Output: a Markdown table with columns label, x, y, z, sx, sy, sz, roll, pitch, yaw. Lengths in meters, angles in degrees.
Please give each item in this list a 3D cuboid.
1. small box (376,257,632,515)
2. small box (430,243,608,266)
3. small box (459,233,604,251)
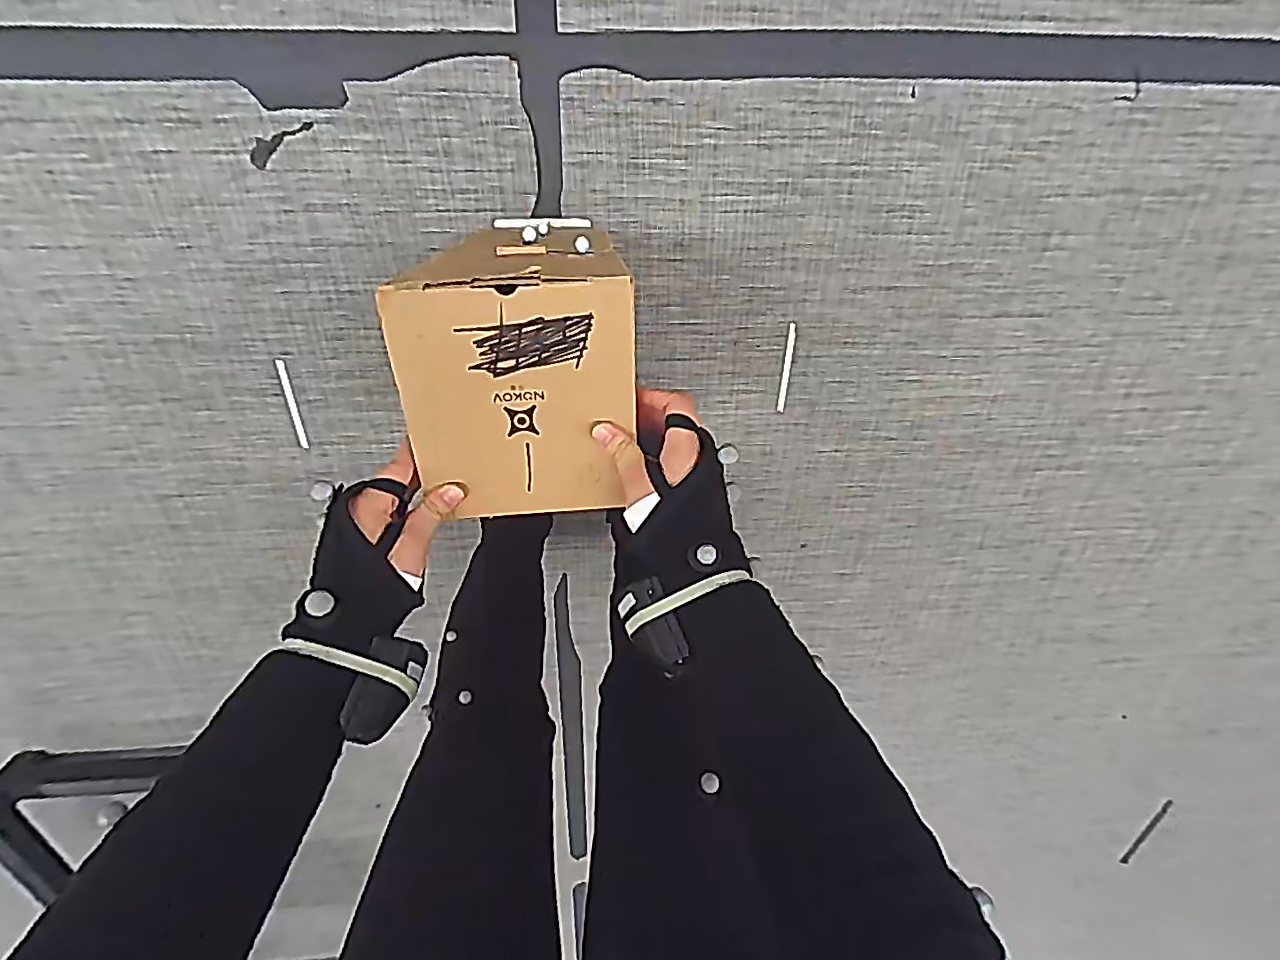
| label | x | y | z | sx | sy | sz | roll | pitch | yaw |
| --- | --- | --- | --- | --- | --- | --- | --- | --- | --- |
| small box | -0.097 | -0.091 | 0.462 | 0.168 | 0.176 | 0.179 | -4 | 119 | -4 |
| small box | -0.118 | -0.168 | 0.606 | 0.168 | 0.176 | 0.179 | -4 | 118 | -4 |
| small box | -0.135 | -0.246 | 0.747 | 0.179 | 0.176 | 0.168 | -2 | 118 | -4 |
